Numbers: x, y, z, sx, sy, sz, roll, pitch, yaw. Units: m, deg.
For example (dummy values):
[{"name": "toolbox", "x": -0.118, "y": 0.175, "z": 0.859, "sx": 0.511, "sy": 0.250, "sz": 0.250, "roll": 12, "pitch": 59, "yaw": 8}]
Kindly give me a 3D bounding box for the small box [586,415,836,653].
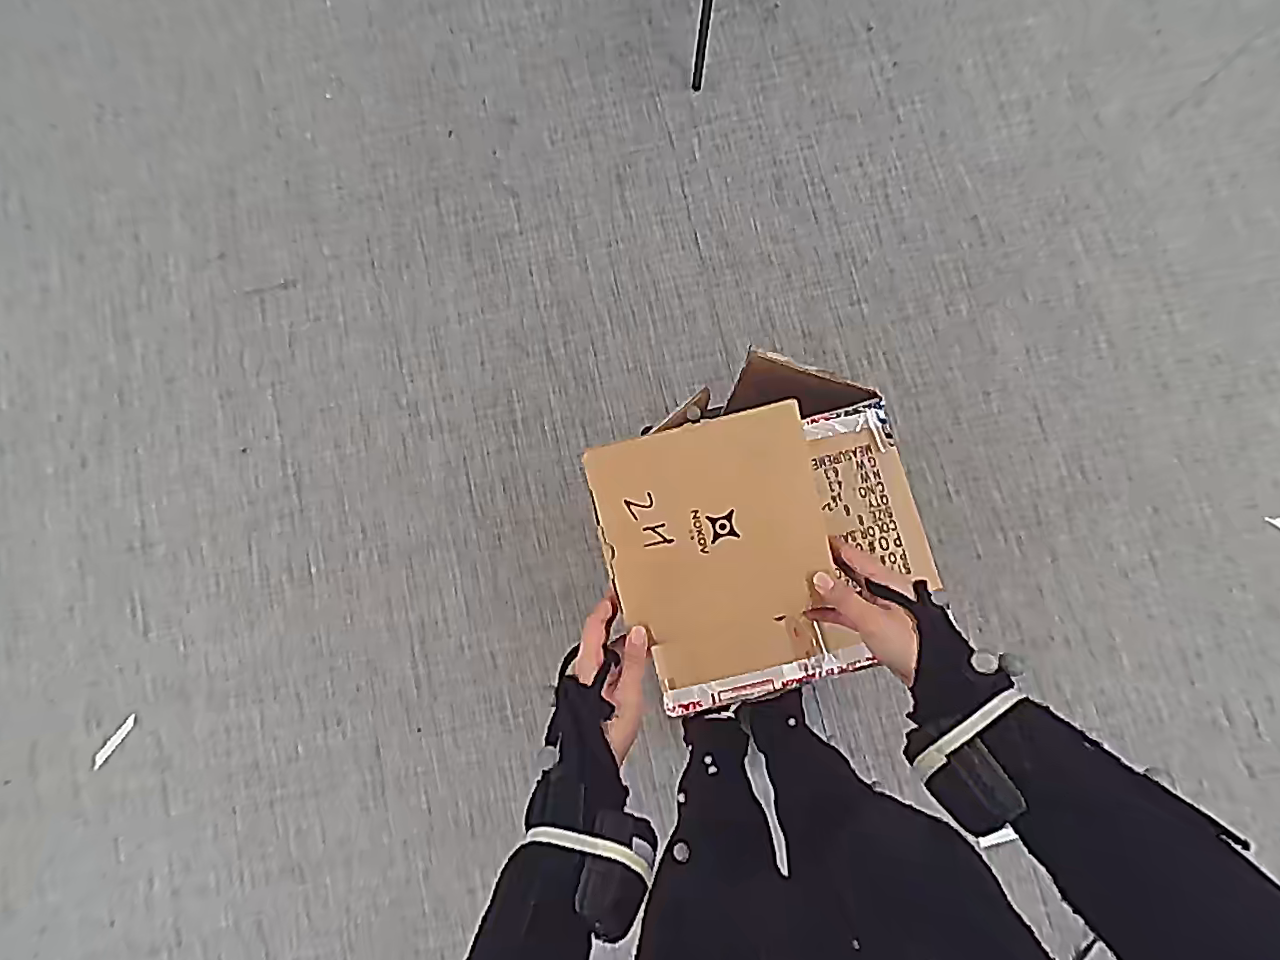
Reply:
[{"name": "small box", "x": 0.058, "y": 0.039, "z": 0.513, "sx": 0.179, "sy": 0.176, "sz": 0.168, "roll": -14, "pitch": 92, "yaw": 2}]
